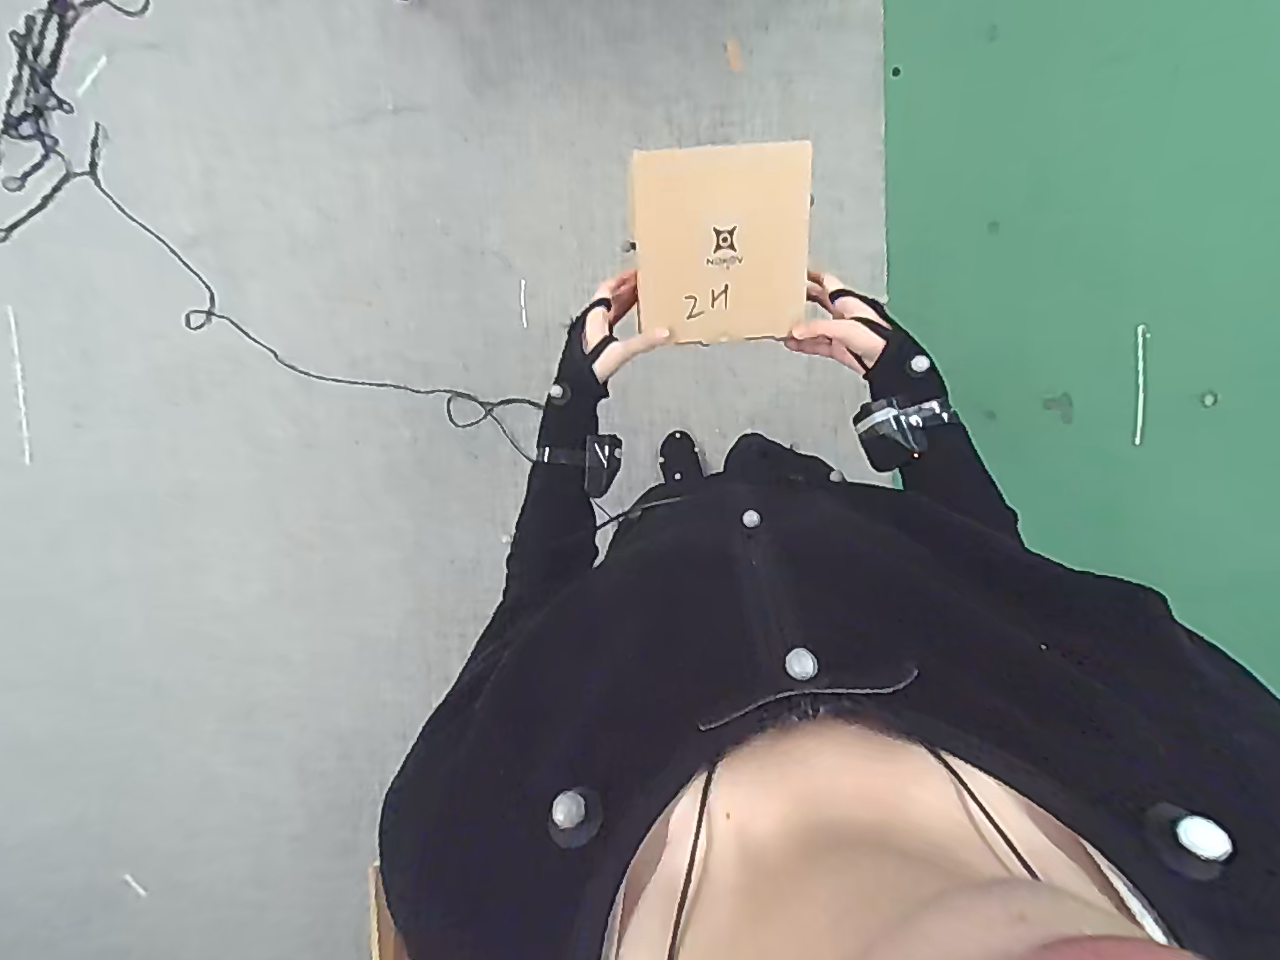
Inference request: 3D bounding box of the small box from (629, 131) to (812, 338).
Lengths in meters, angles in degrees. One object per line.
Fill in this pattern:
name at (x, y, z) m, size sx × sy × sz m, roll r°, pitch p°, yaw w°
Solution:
small box at (0.075, -0.254, 0.587) m, size 0.168 × 0.176 × 0.179 m, roll -4°, pitch 110°, yaw -1°
